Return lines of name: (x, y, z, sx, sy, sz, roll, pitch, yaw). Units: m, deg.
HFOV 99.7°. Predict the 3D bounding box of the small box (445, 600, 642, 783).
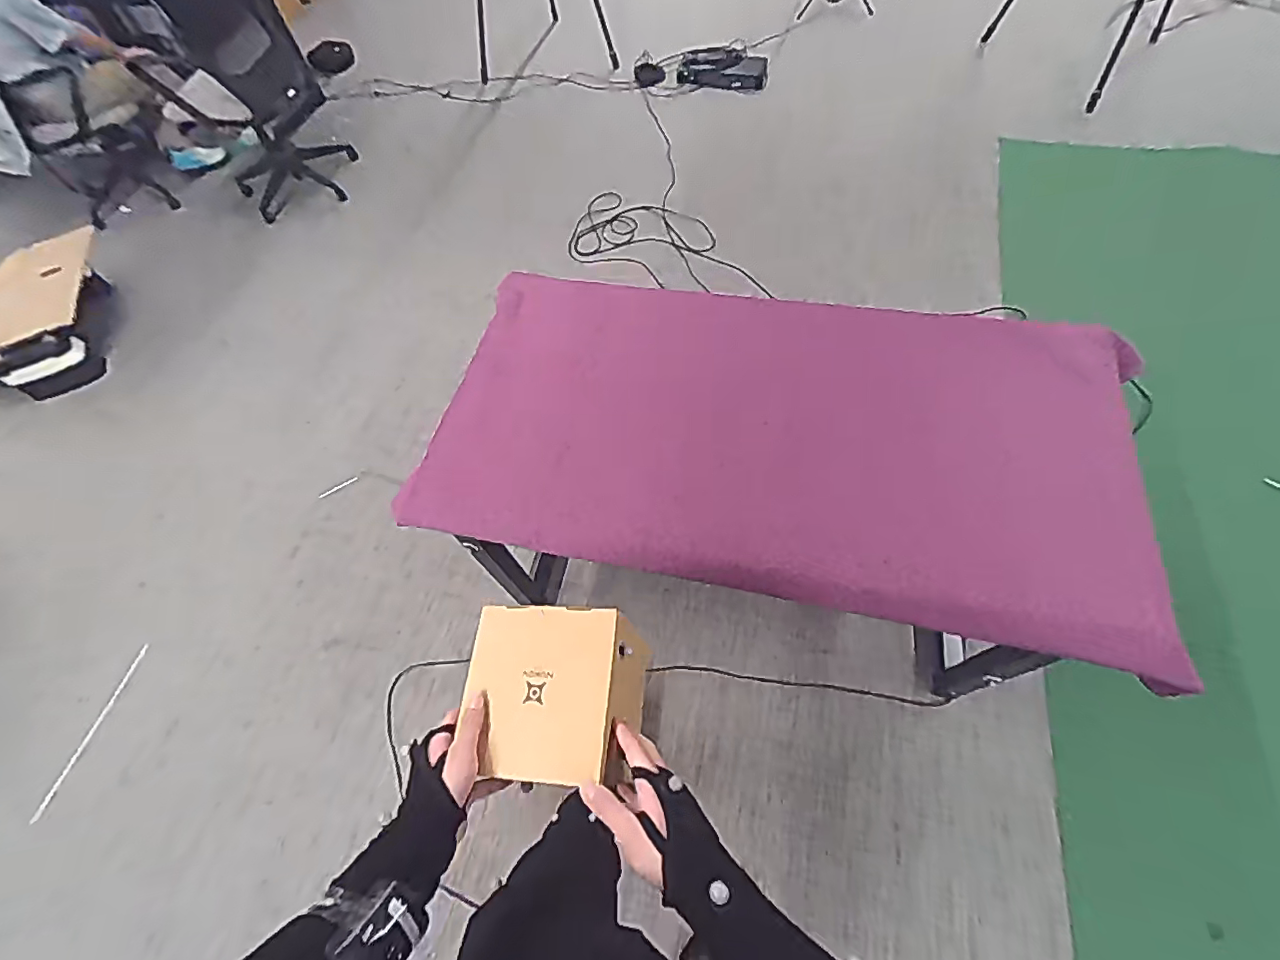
small box: (-0.098, 0.251, 0.642, 0.168, 0.176, 0.179, -2, 62, 13)
